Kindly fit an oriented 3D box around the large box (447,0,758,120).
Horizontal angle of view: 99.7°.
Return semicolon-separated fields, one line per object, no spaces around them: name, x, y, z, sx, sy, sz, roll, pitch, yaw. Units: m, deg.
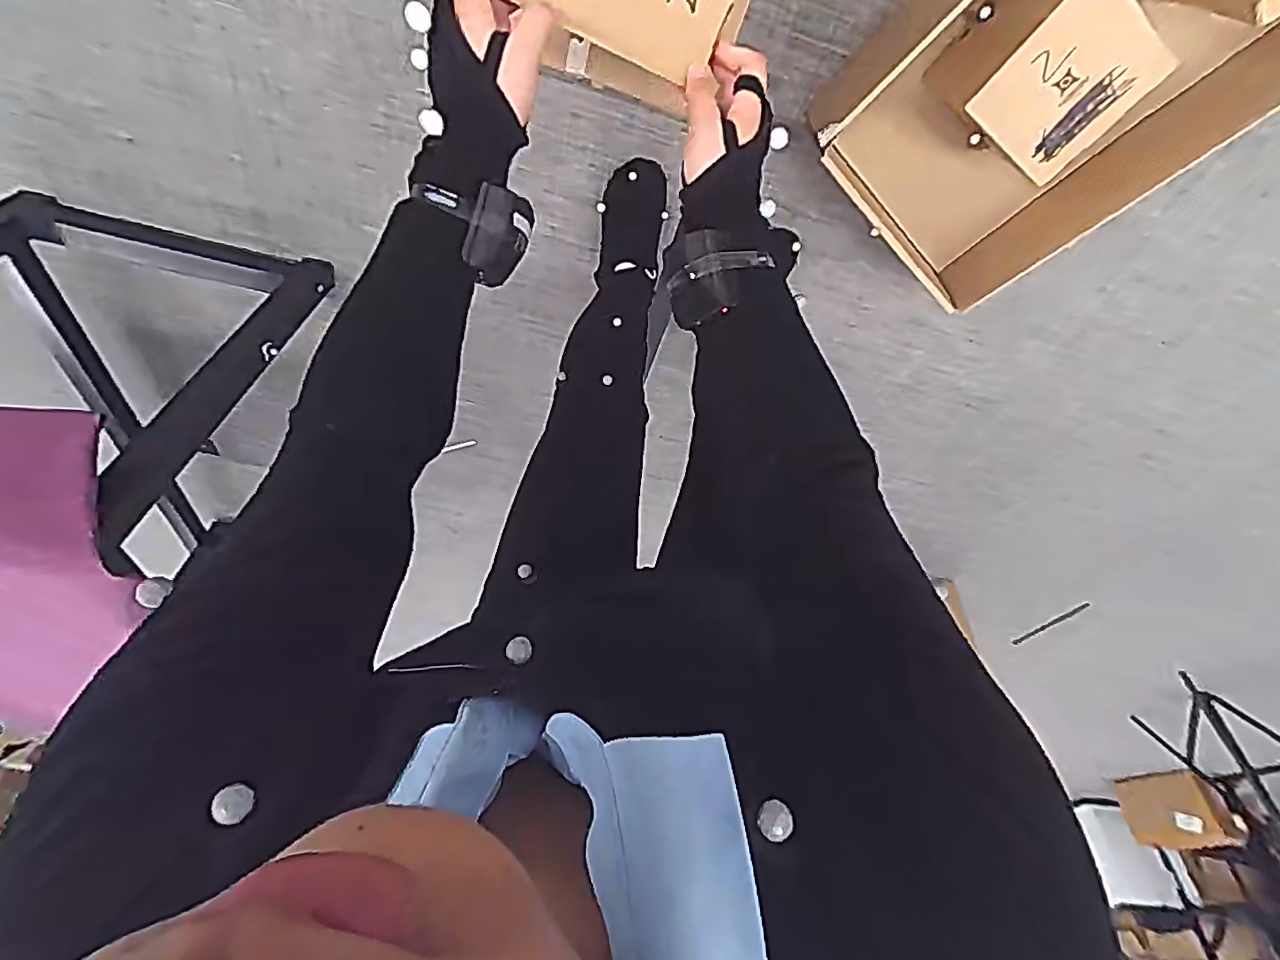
large box;0.007;-0.687;0.549;0.320;0.320;0.408;15;139;-11

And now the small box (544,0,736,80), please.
small box;-0.001;-0.440;0.385;0.179;0.176;0.168;13;142;-19
